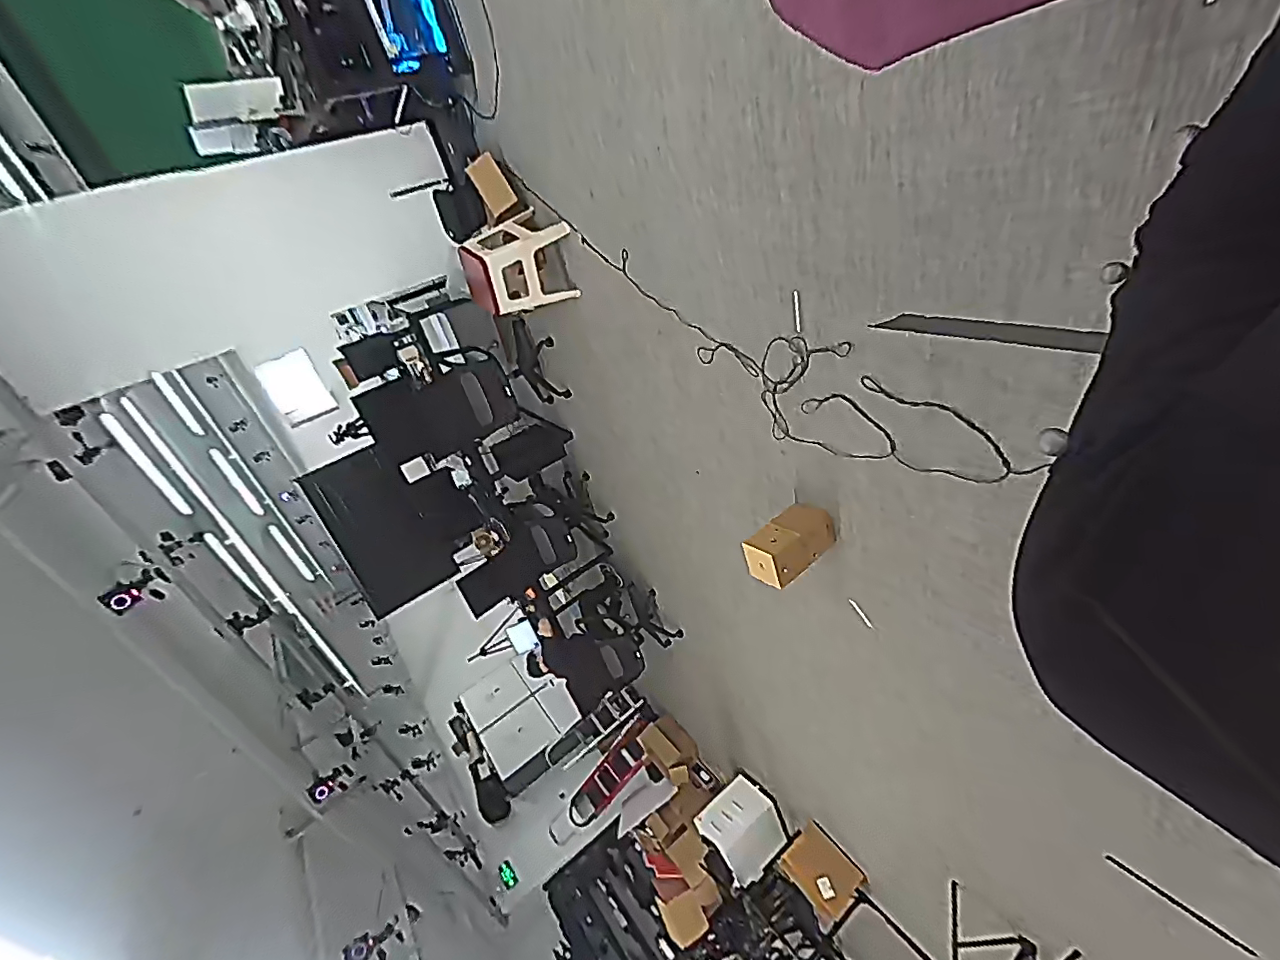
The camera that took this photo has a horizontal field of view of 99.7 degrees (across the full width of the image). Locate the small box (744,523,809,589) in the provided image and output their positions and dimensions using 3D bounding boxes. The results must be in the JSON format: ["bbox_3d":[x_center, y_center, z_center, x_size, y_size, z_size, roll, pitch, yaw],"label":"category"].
[{"bbox_3d":[0.549,0.296,2.160,0.168,0.176,0.179,21,138,55],"label":"small box"}]
